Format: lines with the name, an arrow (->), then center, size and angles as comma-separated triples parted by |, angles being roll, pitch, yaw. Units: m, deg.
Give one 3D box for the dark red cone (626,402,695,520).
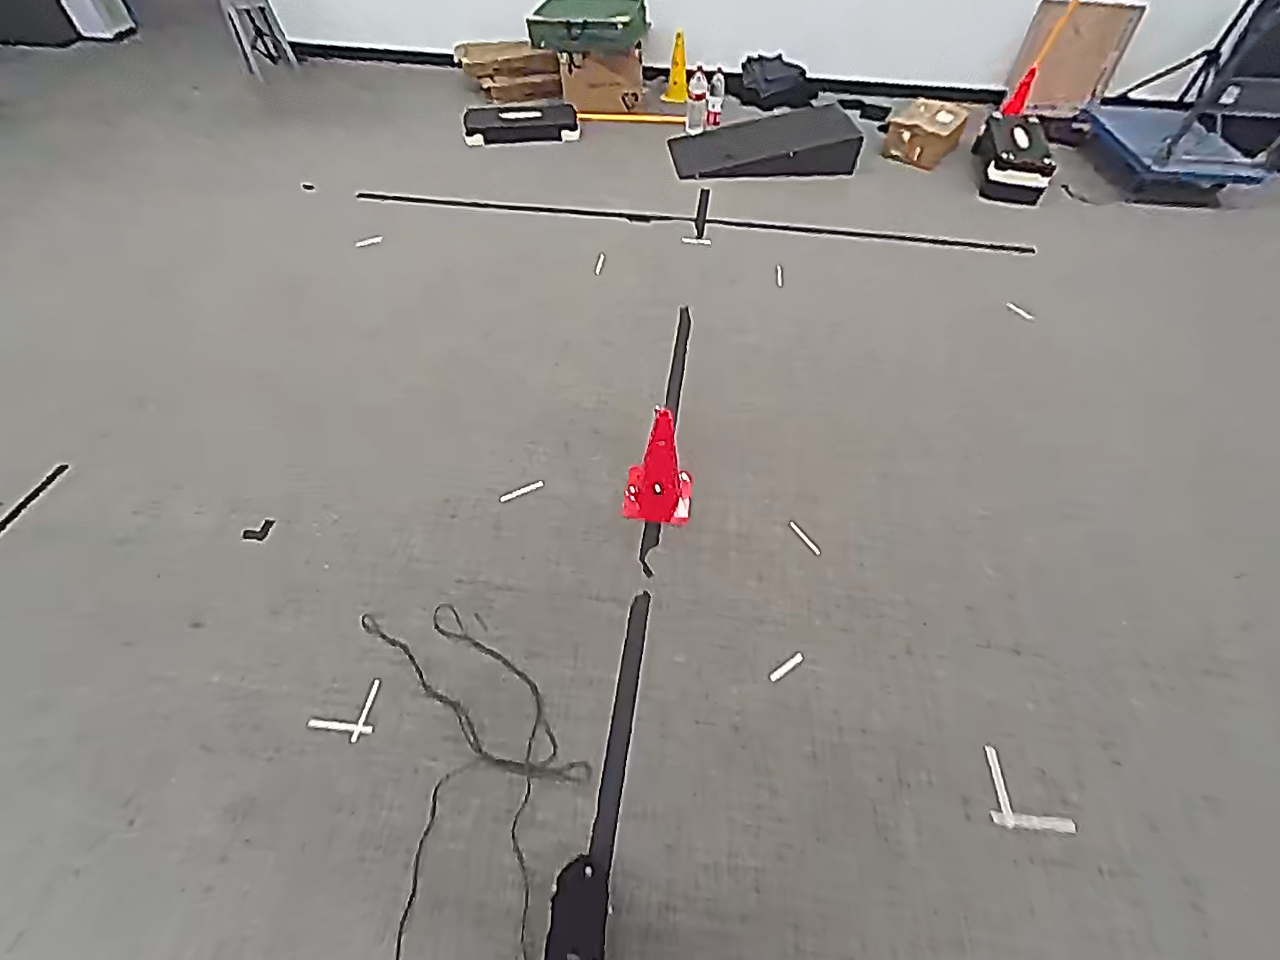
dark red cone -> 0.063, -0.069, 1.504 | 0.201, 0.394, 0.202 | 6, 53, 4
